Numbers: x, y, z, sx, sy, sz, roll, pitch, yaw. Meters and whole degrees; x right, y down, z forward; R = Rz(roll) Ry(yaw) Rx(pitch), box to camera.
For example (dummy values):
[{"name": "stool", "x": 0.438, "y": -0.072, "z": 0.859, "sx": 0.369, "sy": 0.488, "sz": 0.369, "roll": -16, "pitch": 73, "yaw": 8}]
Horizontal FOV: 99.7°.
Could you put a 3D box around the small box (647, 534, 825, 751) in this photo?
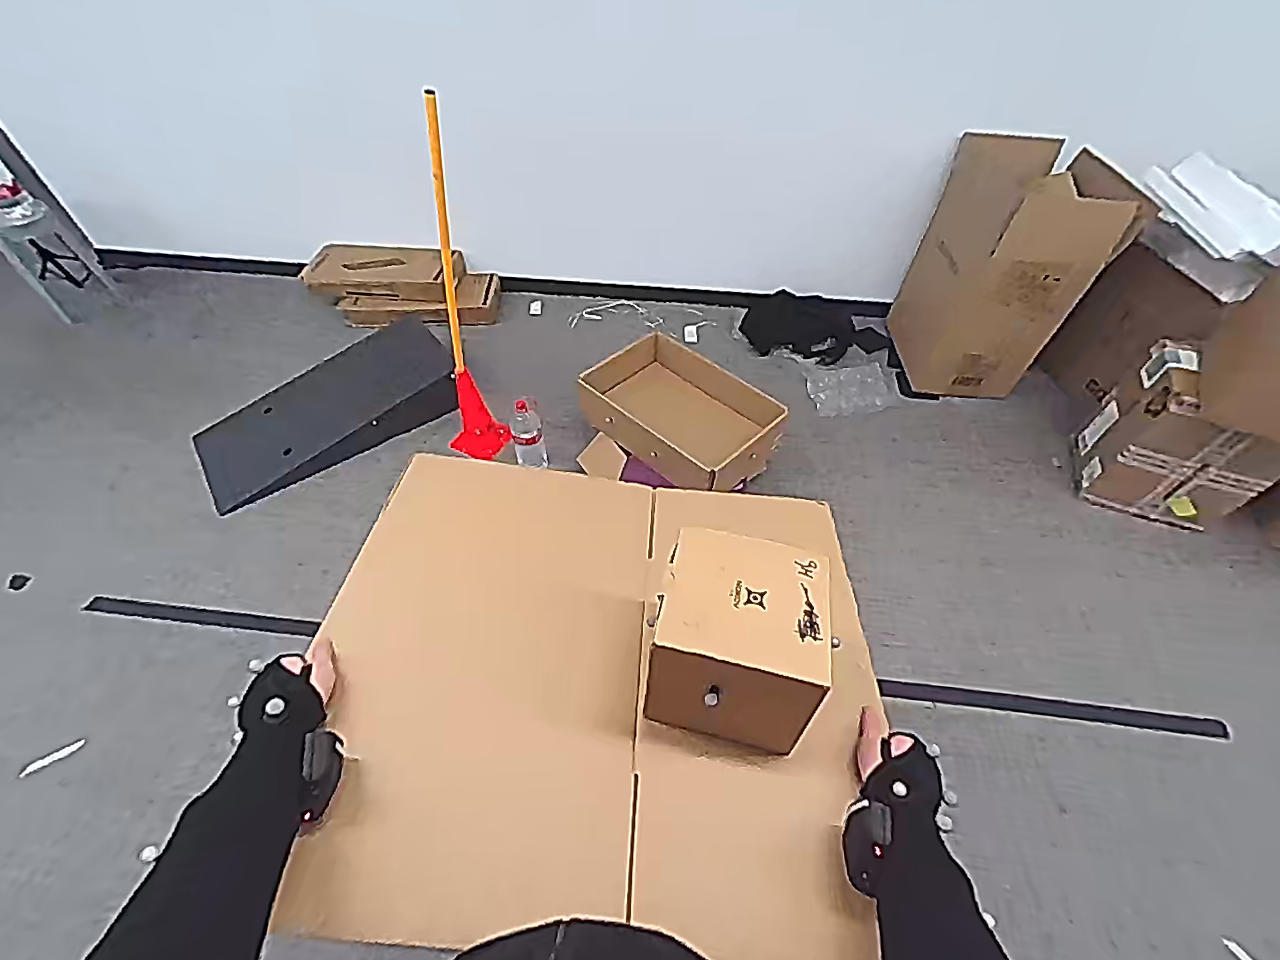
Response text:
[{"name": "small box", "x": 0.109, "y": 0.192, "z": 0.637, "sx": 0.179, "sy": 0.176, "sz": 0.168, "roll": 10, "pitch": 43, "yaw": 9}]
